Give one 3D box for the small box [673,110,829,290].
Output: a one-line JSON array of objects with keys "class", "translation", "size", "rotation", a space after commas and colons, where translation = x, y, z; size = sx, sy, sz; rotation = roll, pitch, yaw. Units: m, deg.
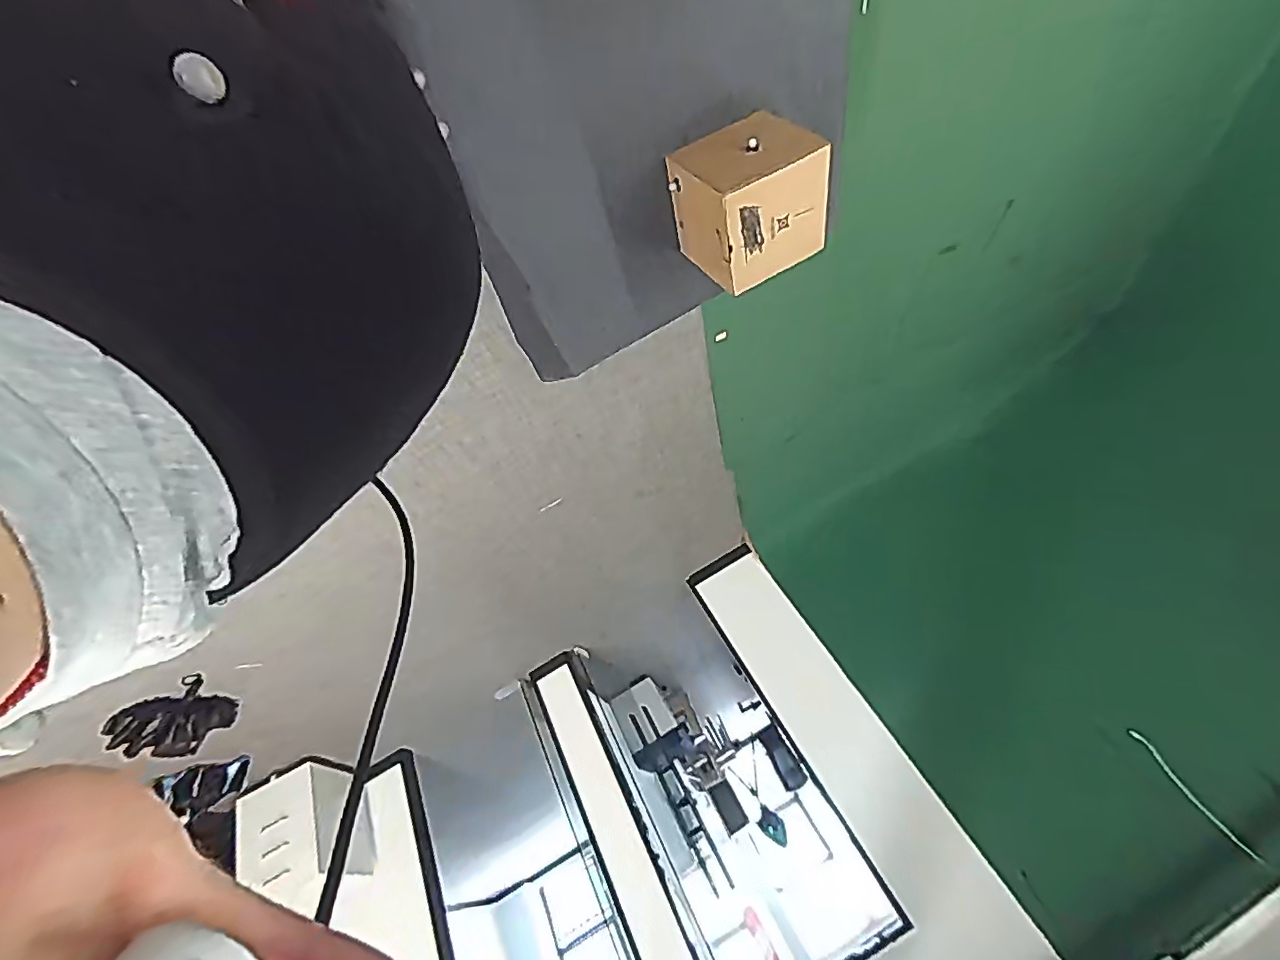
[{"class": "small box", "translation": [0.165, -0.437, 0.844], "size": [0.179, 0.176, 0.168], "rotation": [-30, 145, -6]}]
